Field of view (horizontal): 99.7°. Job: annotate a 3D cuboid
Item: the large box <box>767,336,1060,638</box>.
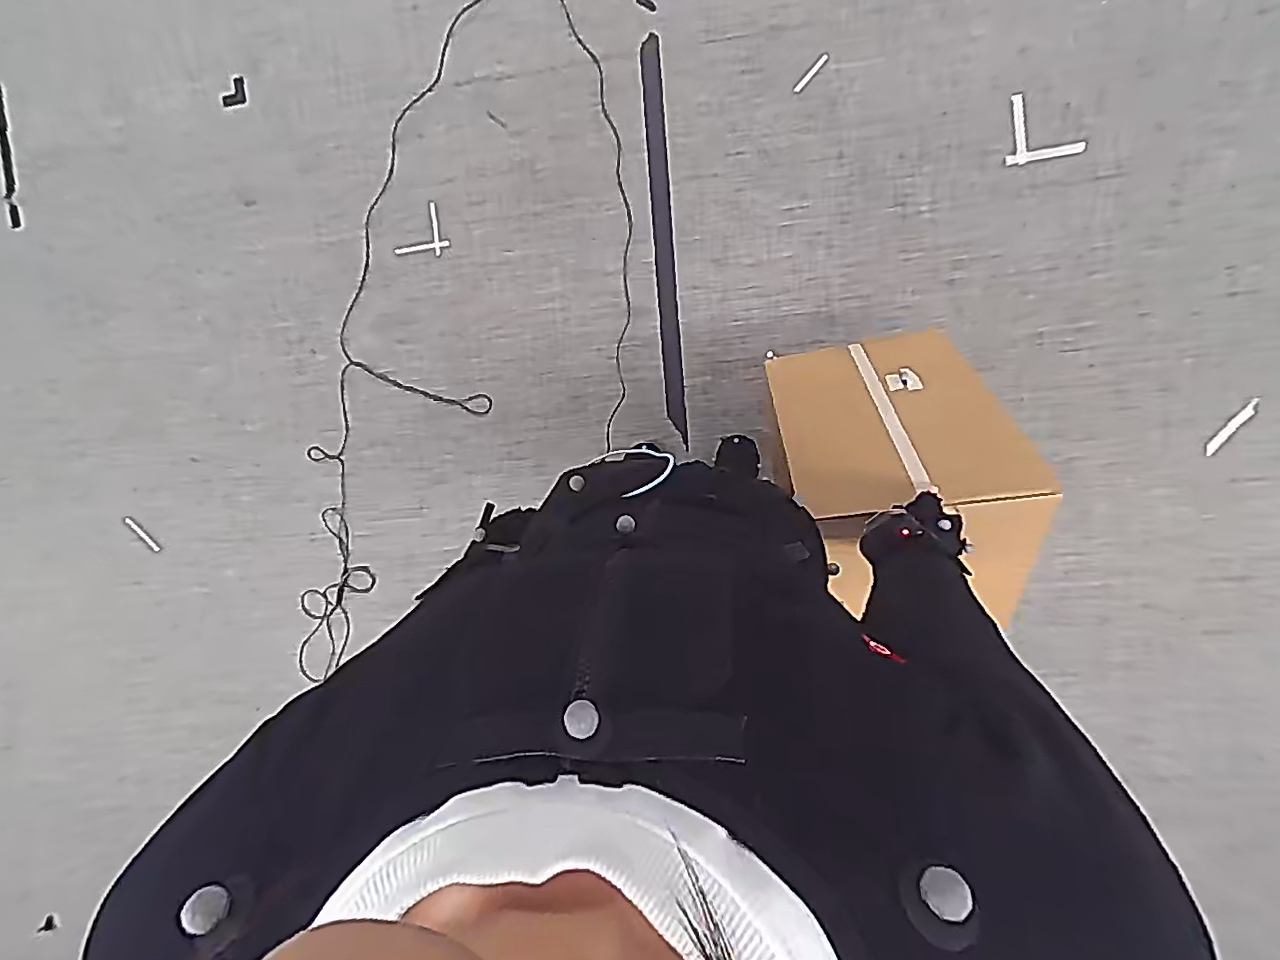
[{"bbox_3d":[0.411,0.007,0.933,0.320,0.408,0.320,-7,132,9],"label":"large box"}]
